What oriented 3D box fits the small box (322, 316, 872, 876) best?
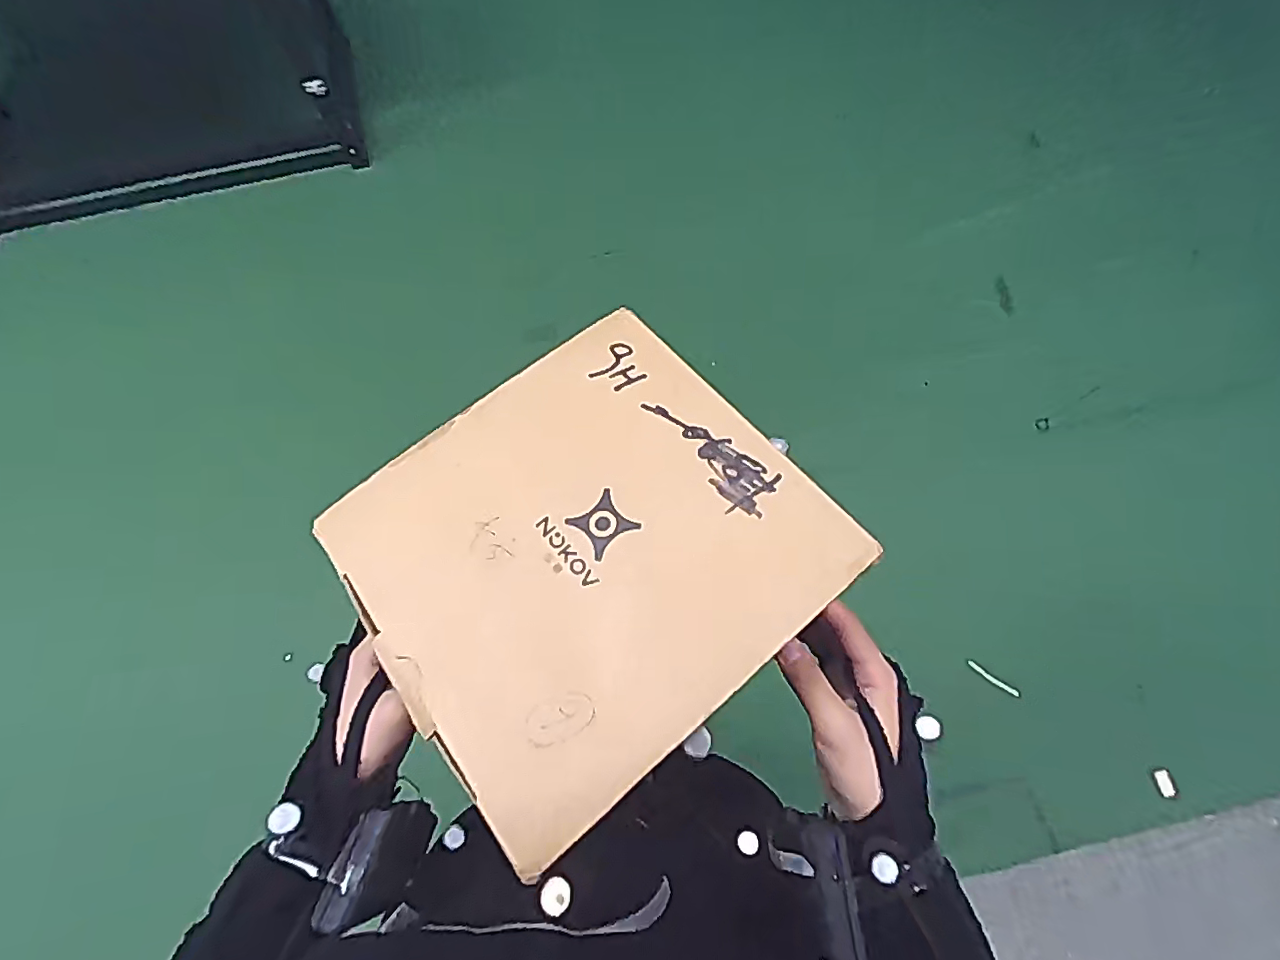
[{"bbox_3d":[-0.017,0.057,0.295,0.179,0.176,0.168,-38,69,-11],"label":"small box"}]
